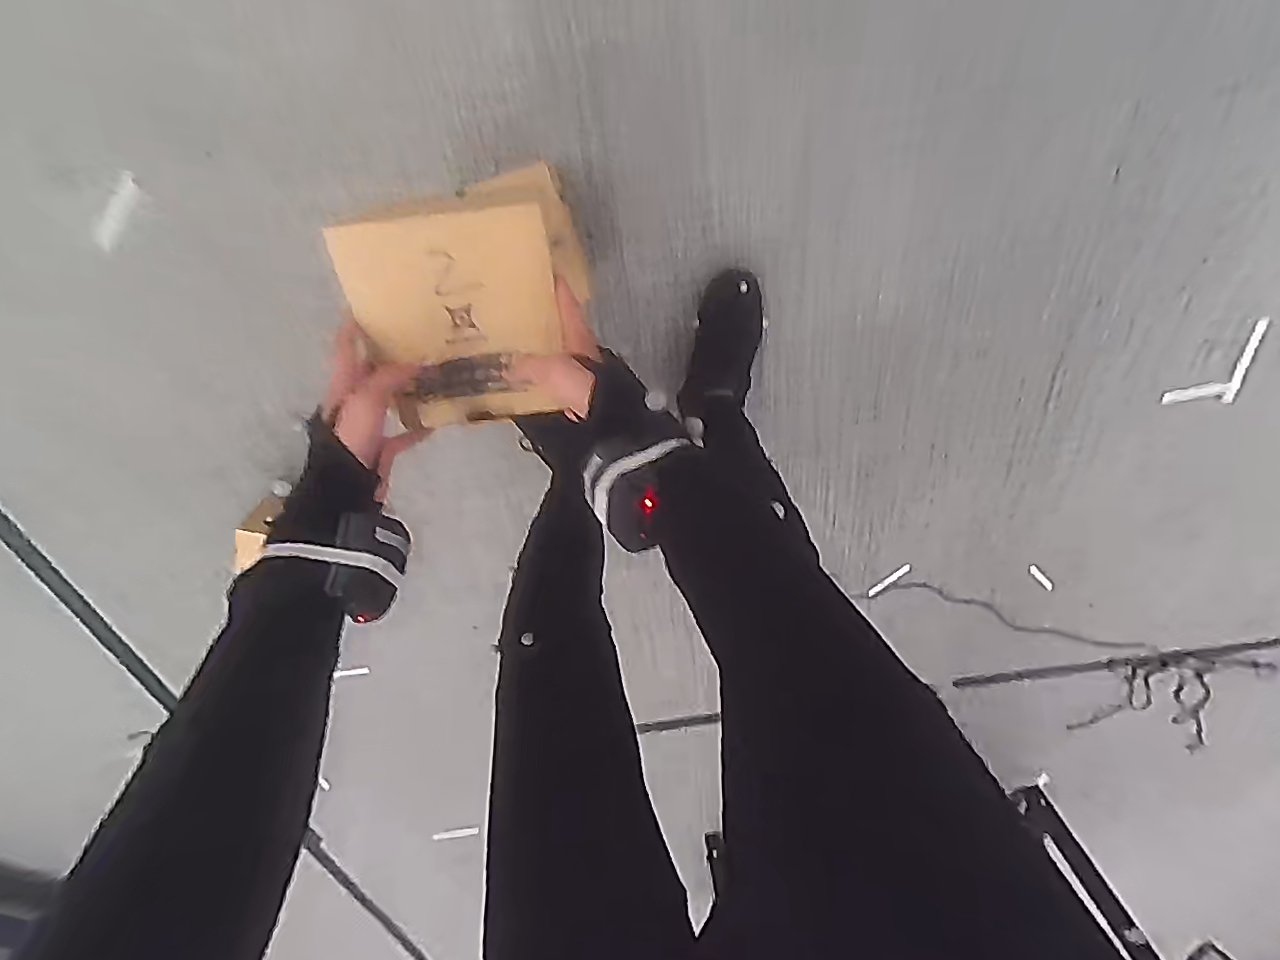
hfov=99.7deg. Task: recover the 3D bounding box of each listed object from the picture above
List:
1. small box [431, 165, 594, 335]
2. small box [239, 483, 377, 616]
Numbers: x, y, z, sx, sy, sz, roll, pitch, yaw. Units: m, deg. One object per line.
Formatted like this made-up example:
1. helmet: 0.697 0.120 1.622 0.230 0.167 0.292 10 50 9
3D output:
1. small box: -0.172 -0.336 0.782 0.168 0.176 0.179 -17 122 4
2. small box: -0.617 0.127 1.021 0.179 0.176 0.168 15 119 -13
